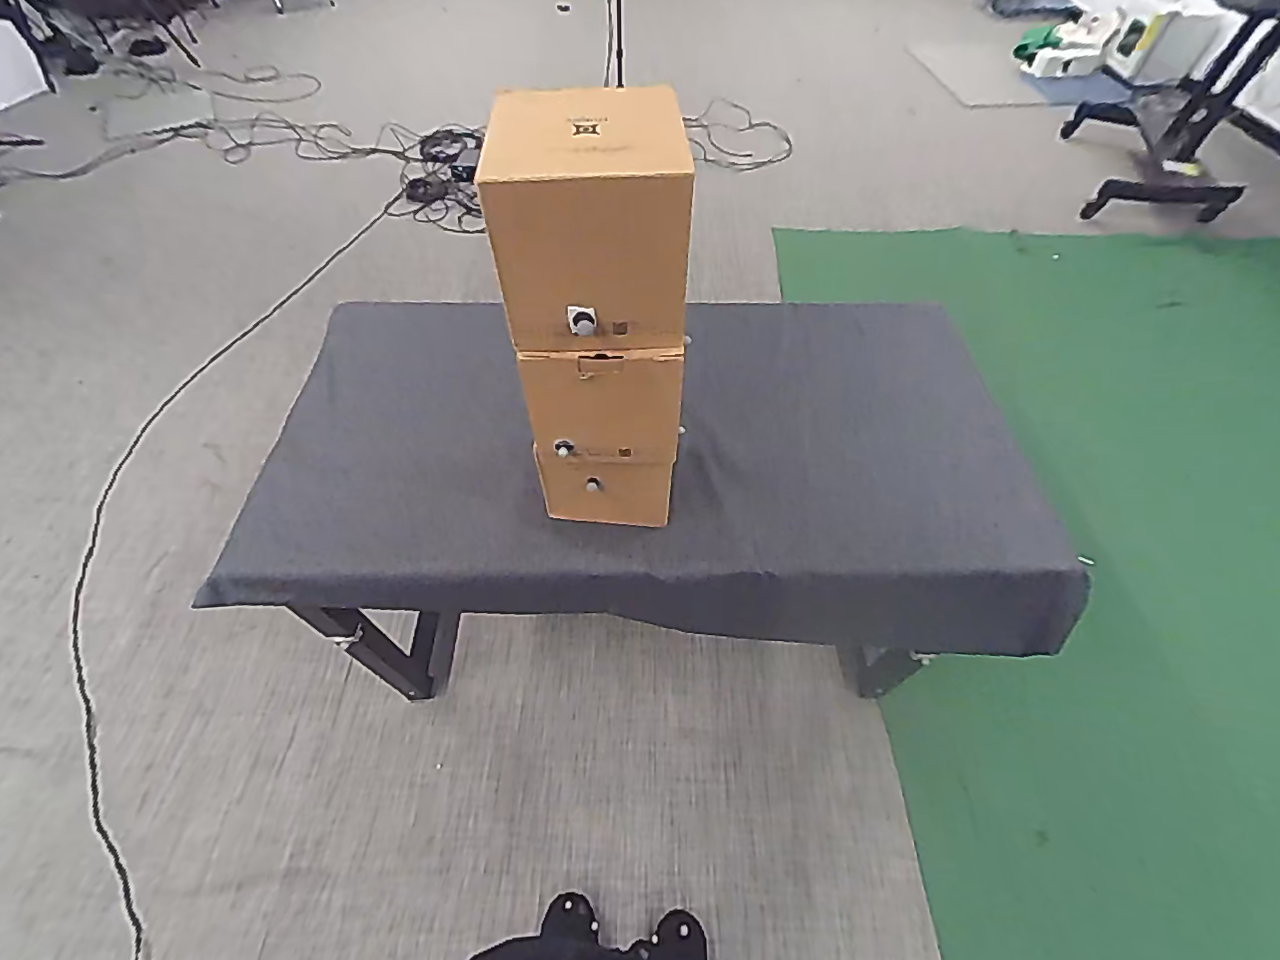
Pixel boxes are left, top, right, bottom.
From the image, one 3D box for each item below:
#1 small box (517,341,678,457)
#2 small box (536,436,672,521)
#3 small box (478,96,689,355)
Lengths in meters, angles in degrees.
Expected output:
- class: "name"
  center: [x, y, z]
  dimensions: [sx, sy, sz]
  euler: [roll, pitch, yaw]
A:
- class: "small box"
  center: [-0.044, -0.139, 0.650]
  dimensions: [0.168, 0.176, 0.179]
  euler: [-3, 55, -2]
- class: "small box"
  center: [-0.042, -0.052, 0.793]
  dimensions: [0.179, 0.176, 0.168]
  euler: [3, 52, 1]
- class: "small box"
  center: [-0.047, -0.244, 0.526]
  dimensions: [0.168, 0.176, 0.179]
  euler: [-4, 54, -2]
